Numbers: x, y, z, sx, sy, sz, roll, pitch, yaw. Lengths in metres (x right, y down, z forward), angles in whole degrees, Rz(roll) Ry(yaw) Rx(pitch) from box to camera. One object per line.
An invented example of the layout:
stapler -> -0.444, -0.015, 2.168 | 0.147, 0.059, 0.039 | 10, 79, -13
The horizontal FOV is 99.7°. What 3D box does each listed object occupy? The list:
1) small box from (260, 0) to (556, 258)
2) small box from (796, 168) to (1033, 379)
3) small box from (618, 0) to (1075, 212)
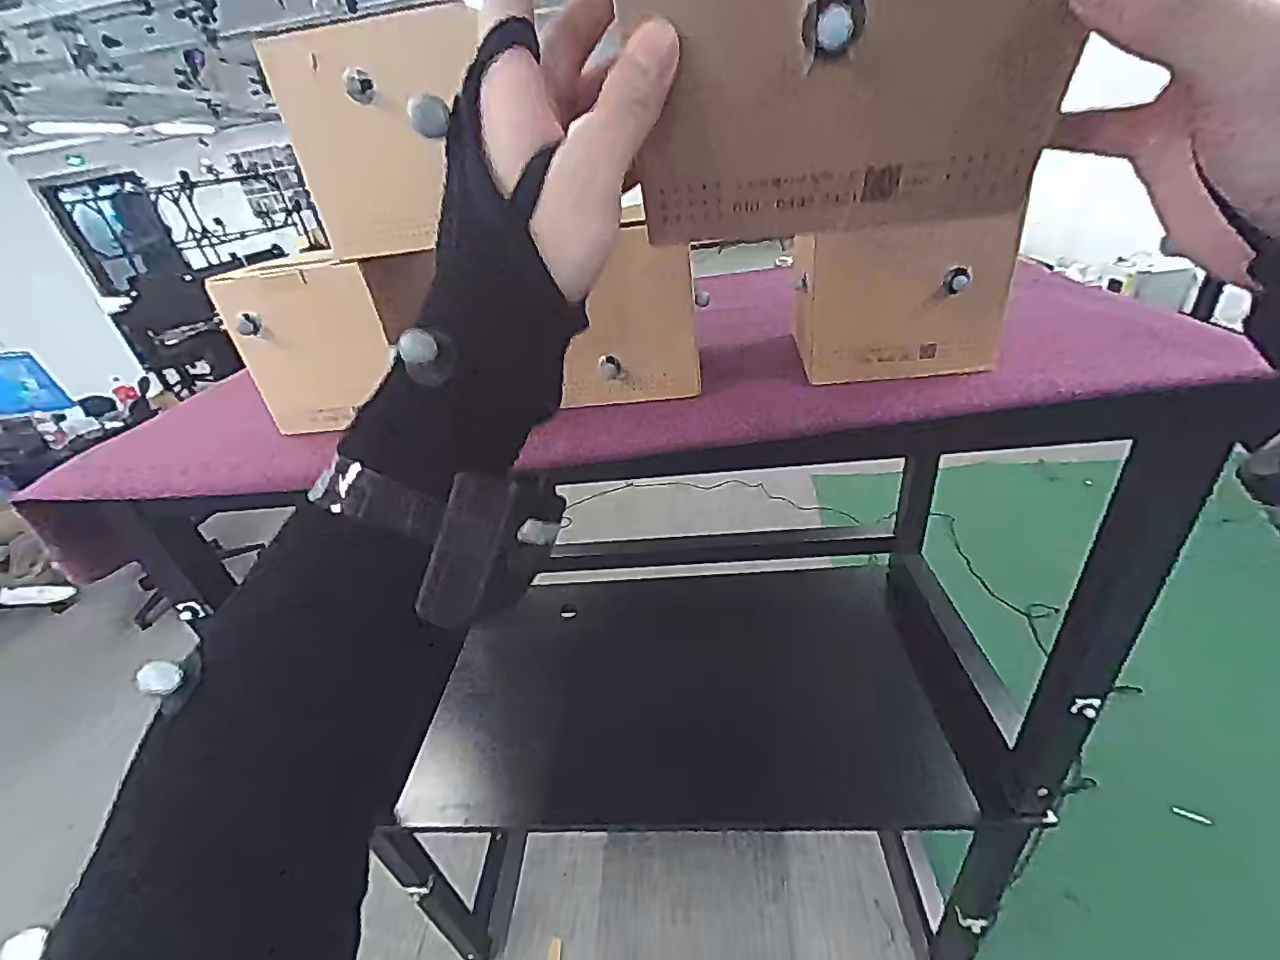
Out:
small box -> -0.194, -0.315, 0.513 | 0.179, 0.176, 0.168 | -3, 31, 9
small box -> 0.249, -0.206, 0.541 | 0.168, 0.176, 0.179 | -2, 32, 11
small box -> 0.082, -0.237, 0.238 | 0.168, 0.176, 0.179 | -1, 52, 11
